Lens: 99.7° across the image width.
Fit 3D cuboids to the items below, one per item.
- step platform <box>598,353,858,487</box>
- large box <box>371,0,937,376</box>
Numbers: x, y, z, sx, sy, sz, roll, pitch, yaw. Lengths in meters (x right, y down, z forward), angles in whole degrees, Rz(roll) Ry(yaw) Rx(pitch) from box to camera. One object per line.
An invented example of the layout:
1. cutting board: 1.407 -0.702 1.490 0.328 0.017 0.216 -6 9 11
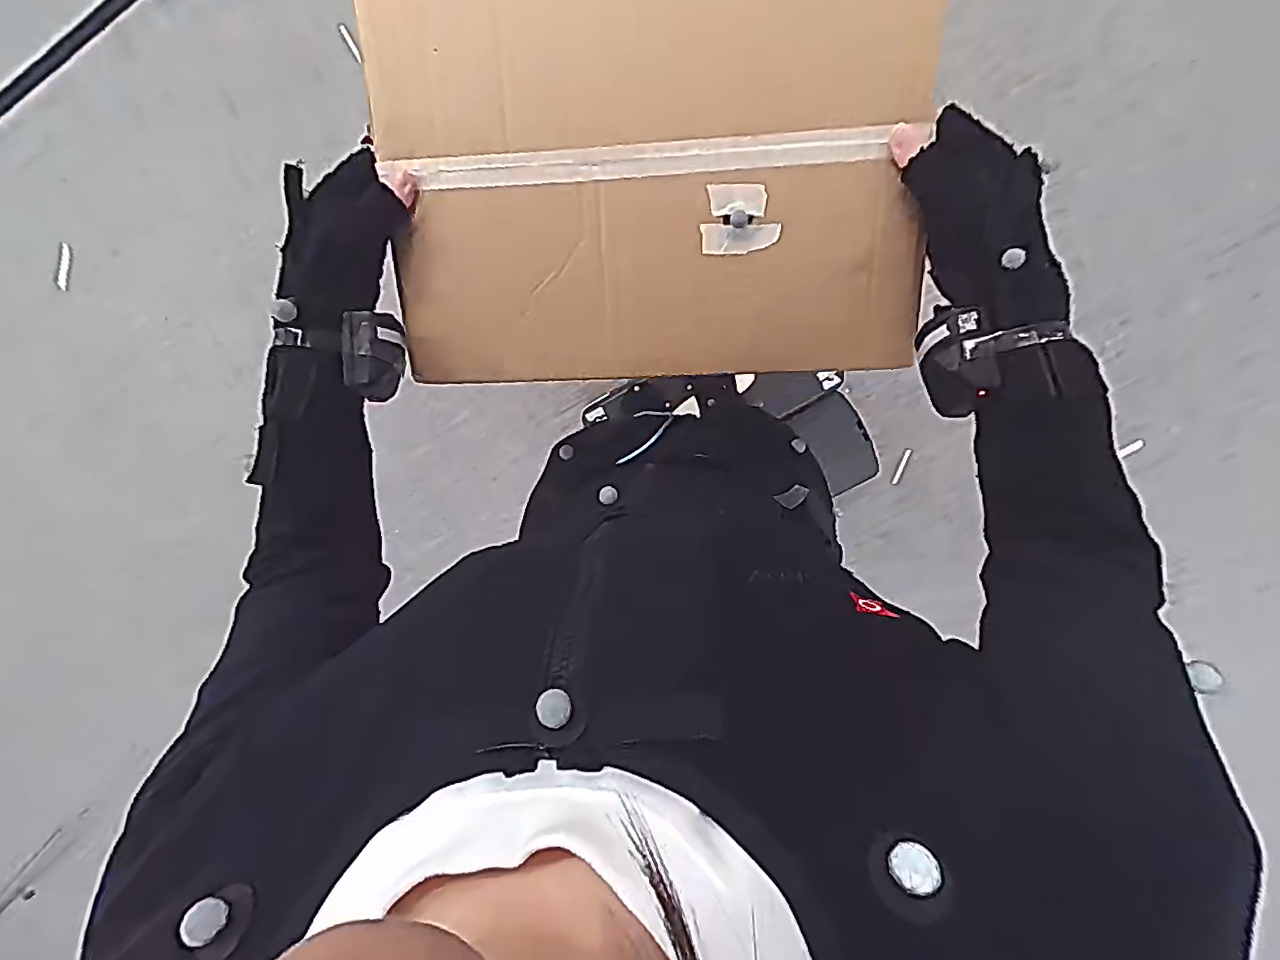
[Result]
1. step platform: 0.225 -0.255 1.474 0.684 0.204 0.286 -30 99 8
2. large box: 0.018 -0.284 0.547 0.408 0.320 0.320 -1 107 4
